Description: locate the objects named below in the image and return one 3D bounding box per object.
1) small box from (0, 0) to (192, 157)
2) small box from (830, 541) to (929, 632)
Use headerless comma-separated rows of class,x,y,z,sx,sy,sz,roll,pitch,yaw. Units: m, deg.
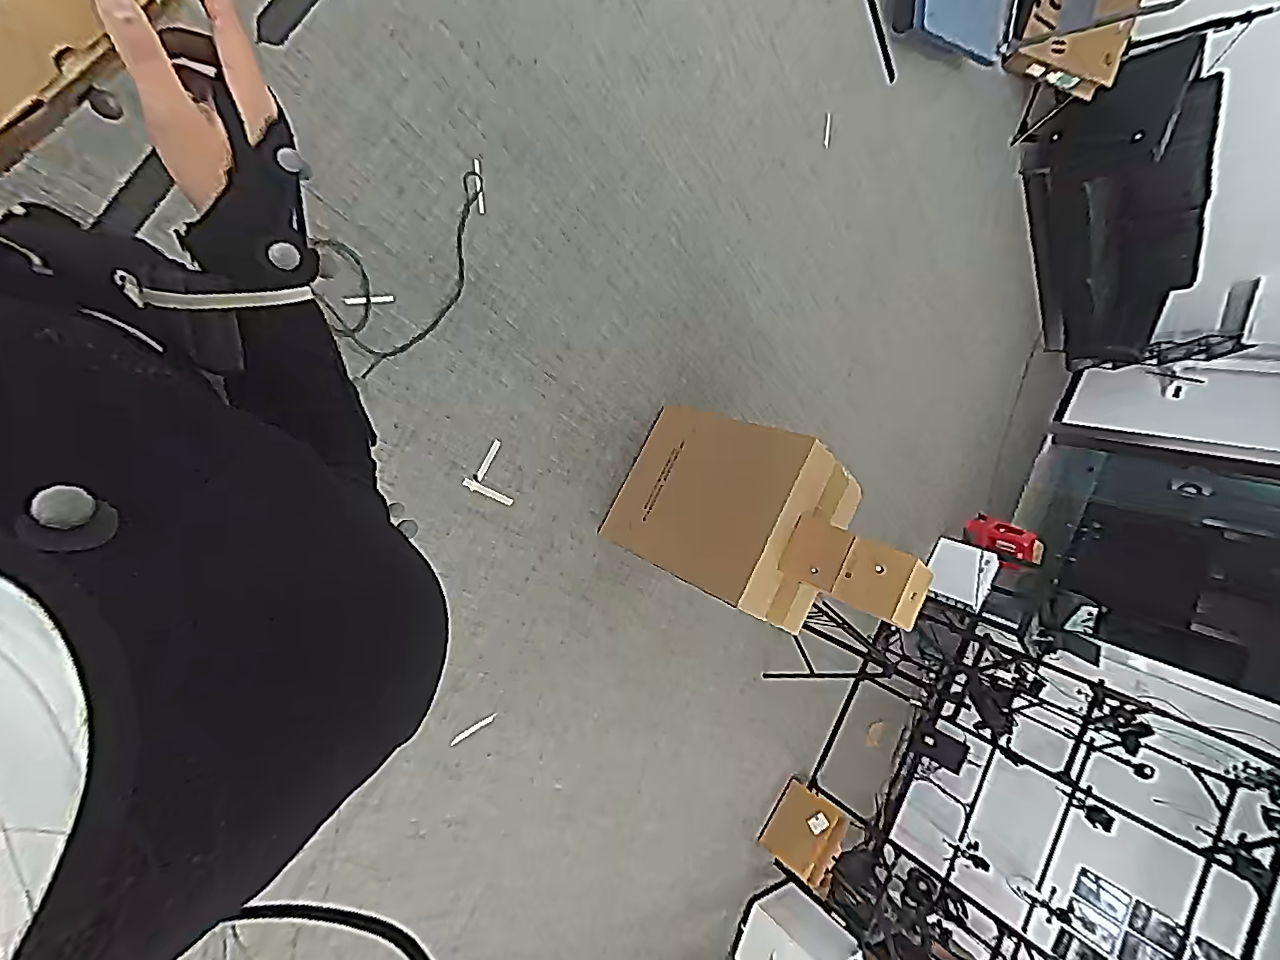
small box,-0.352,-0.272,0.245,0.168,0.176,0.179,-49,139,-8
small box,0.625,0.274,1.420,0.179,0.176,0.168,31,83,-46
